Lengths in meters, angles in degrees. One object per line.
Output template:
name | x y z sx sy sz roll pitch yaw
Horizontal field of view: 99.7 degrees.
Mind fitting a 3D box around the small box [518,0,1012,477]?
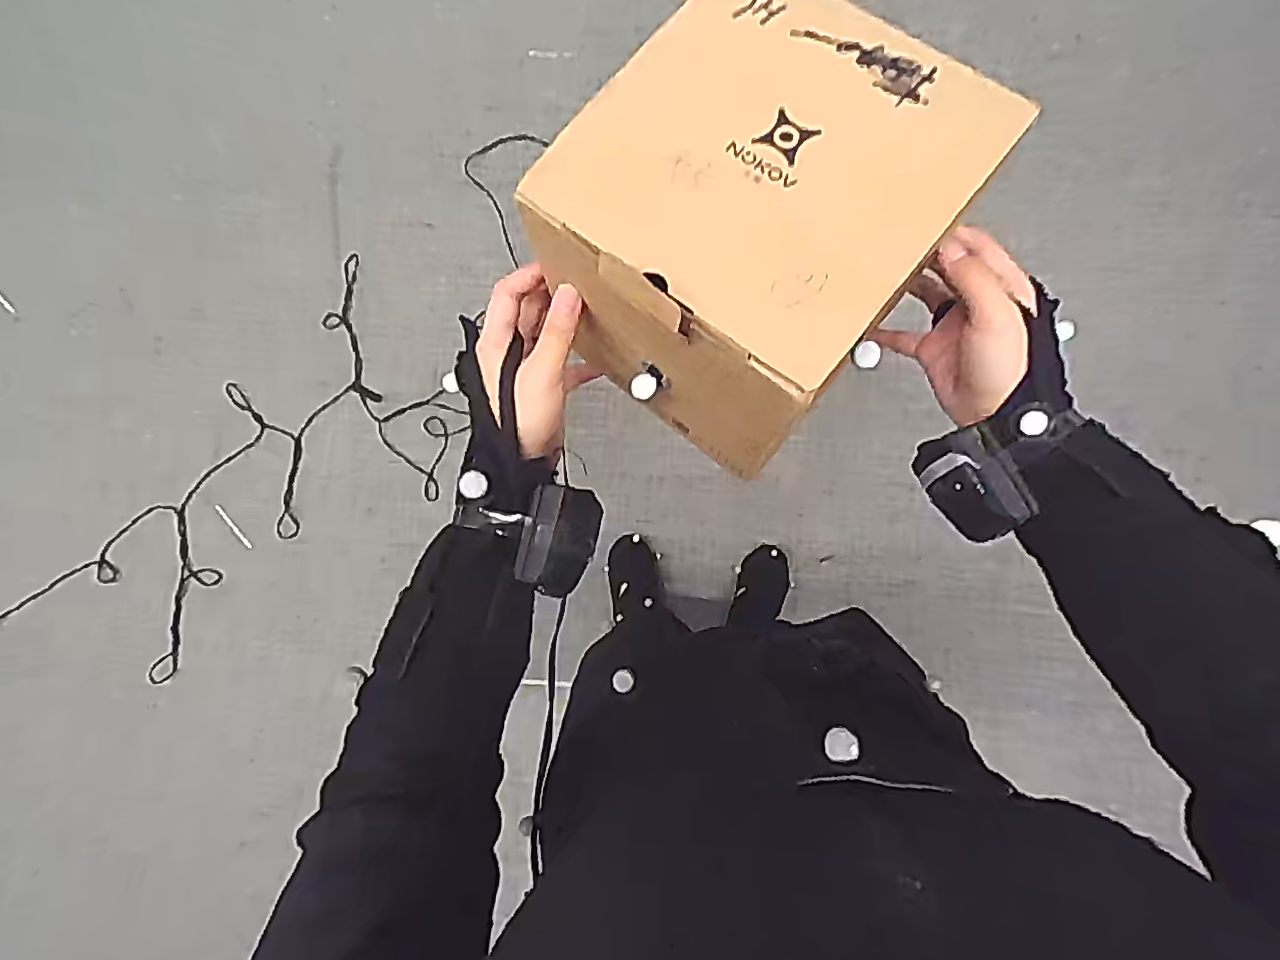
small box | 0.062 -0.124 0.330 0.168 0.176 0.179 39 83 10
